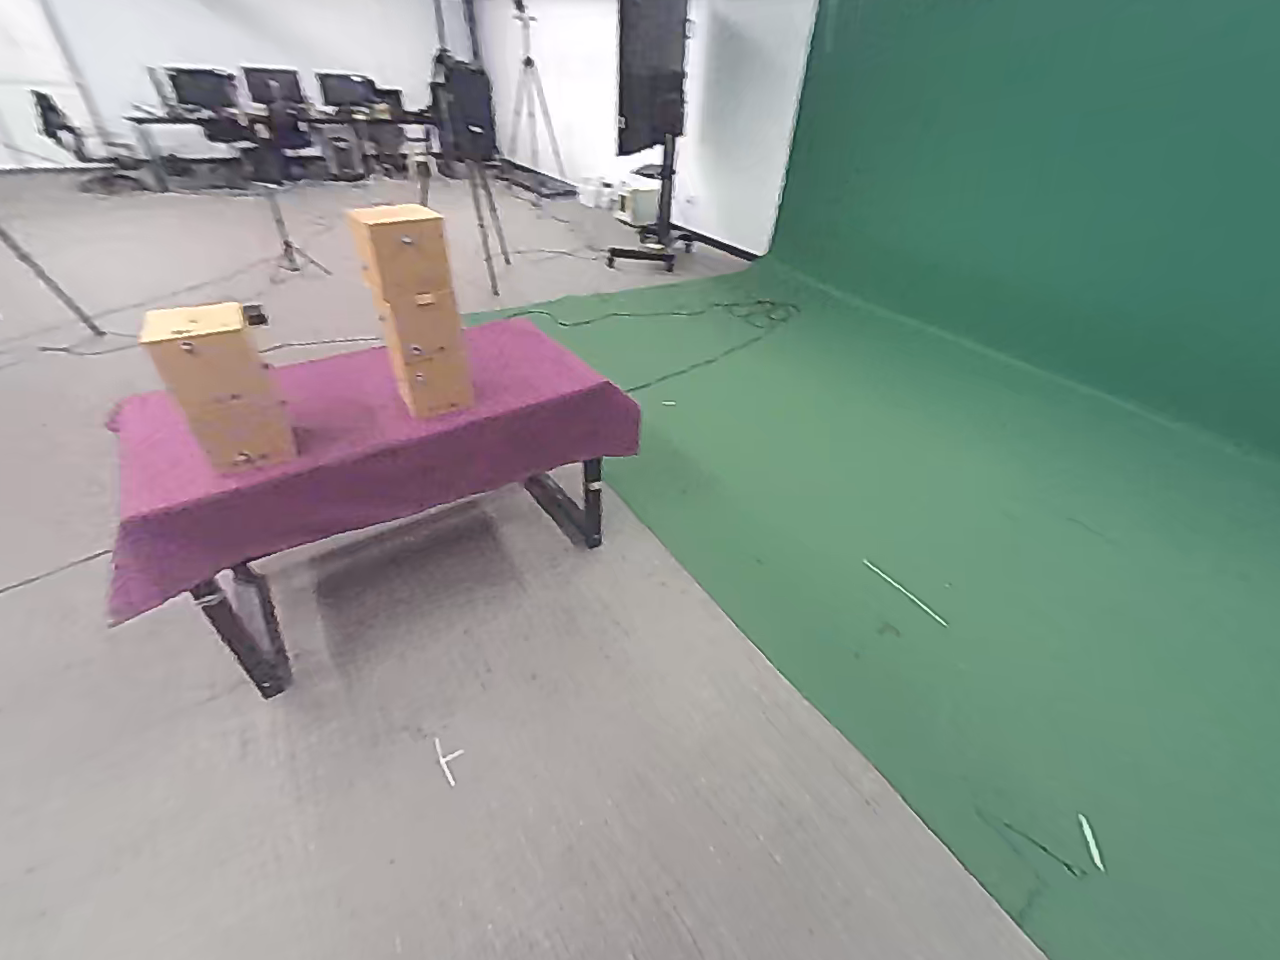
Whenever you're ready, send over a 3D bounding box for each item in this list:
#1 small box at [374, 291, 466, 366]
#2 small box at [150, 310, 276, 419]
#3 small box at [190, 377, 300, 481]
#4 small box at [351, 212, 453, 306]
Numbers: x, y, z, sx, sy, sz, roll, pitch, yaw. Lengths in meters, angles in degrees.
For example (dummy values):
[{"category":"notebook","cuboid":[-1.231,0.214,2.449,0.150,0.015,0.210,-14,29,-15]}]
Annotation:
[{"category":"small box","cuboid":[-0.574,-0.412,1.420,0.168,0.176,0.179,-23,43,-30]},{"category":"small box","cuboid":[-0.928,-0.256,1.190,0.168,0.176,0.179,-19,42,-25]},{"category":"small box","cuboid":[-0.935,-0.124,1.290,0.168,0.176,0.179,-18,43,-25]},{"category":"small box","cuboid":[-0.573,-0.542,1.322,0.179,0.176,0.168,-24,44,-30]}]
